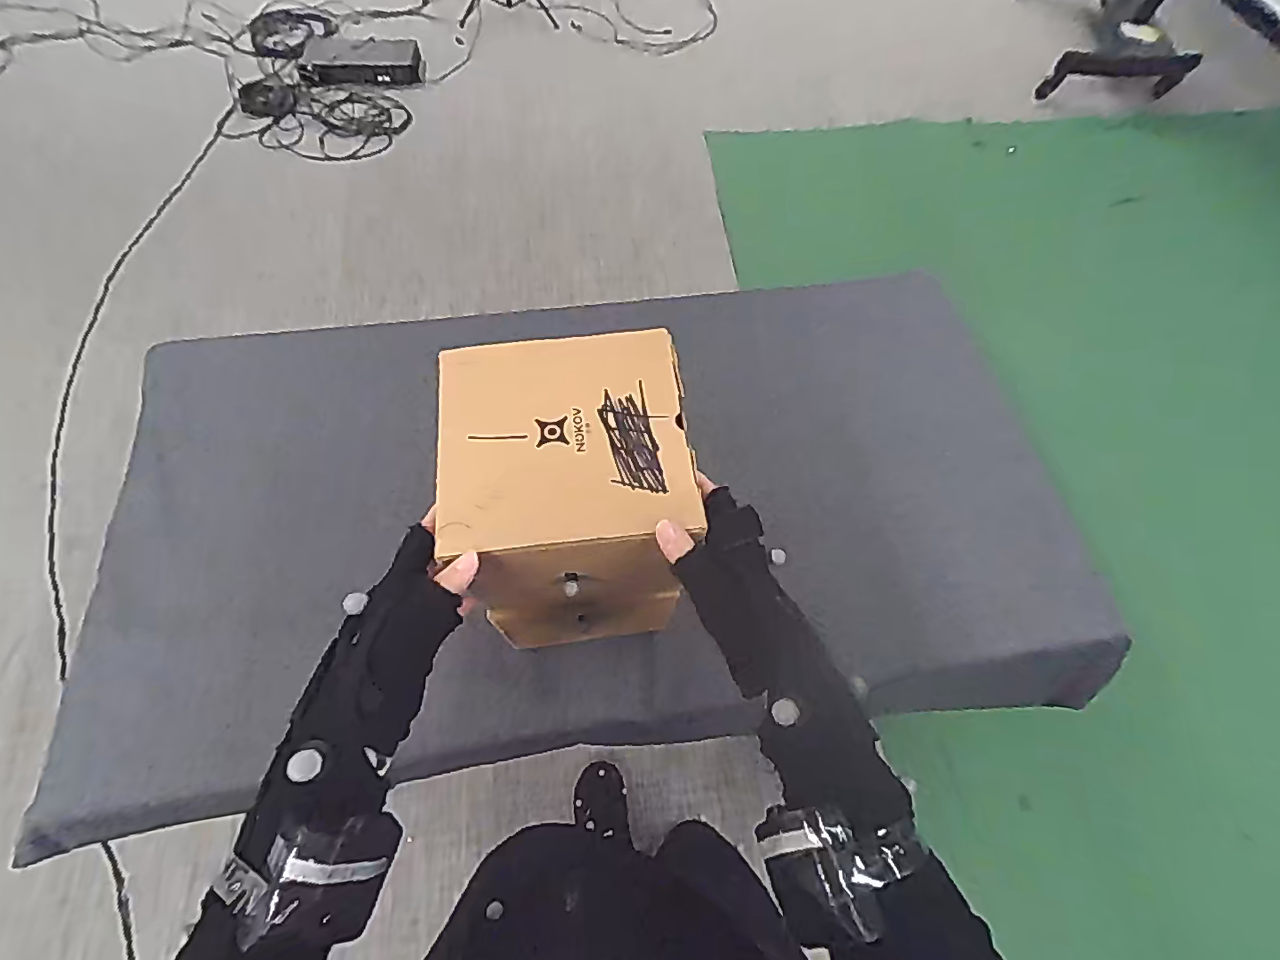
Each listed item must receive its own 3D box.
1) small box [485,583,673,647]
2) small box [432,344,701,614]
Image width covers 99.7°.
[{"bbox_3d":[-0.068,0.082,0.598,0.179,0.176,0.168,-6,66,-7],"label":"small box"},{"bbox_3d":[-0.057,0.009,0.452,0.179,0.176,0.168,-6,65,-5],"label":"small box"}]
